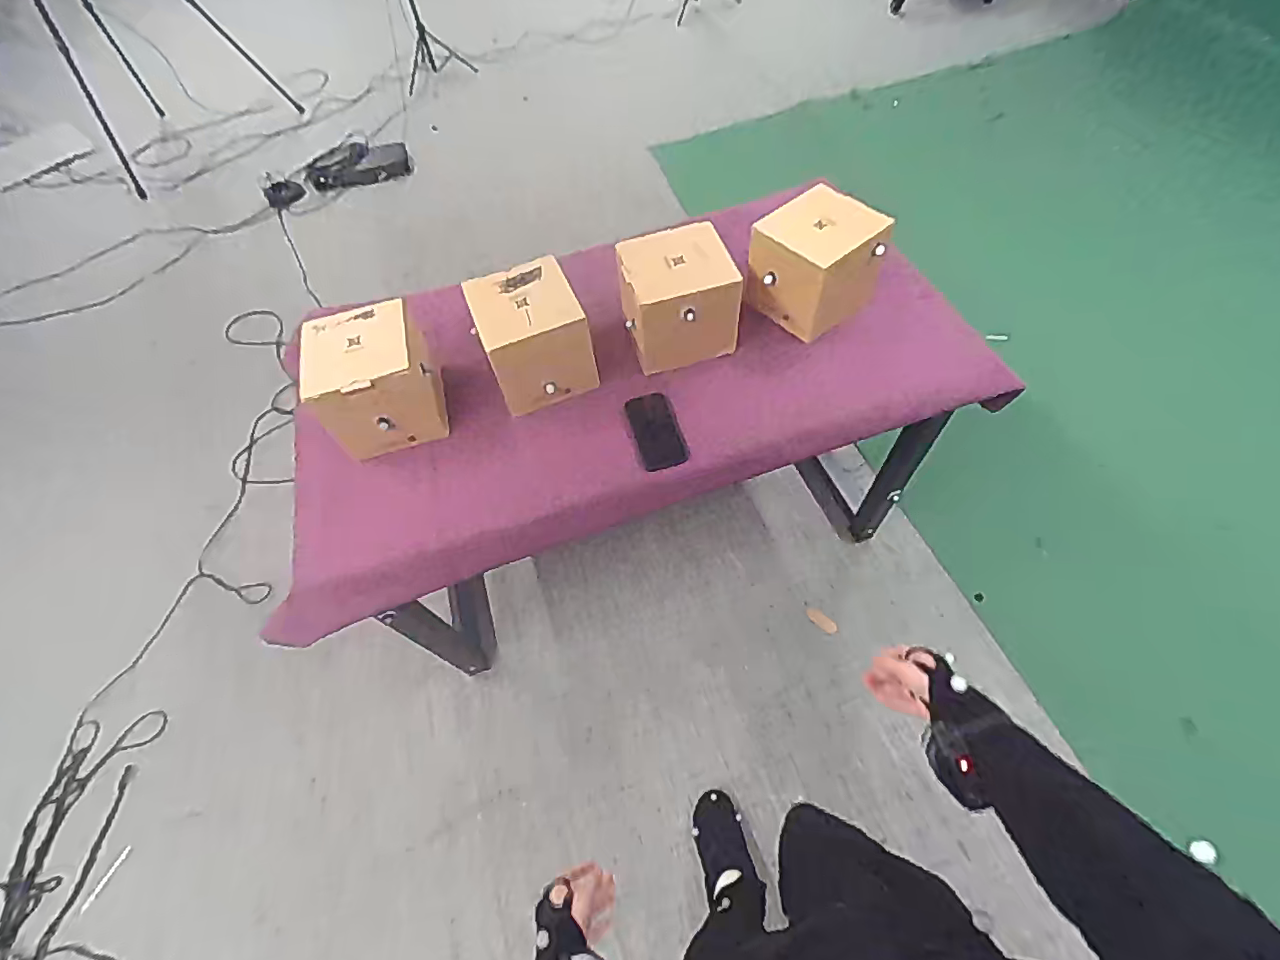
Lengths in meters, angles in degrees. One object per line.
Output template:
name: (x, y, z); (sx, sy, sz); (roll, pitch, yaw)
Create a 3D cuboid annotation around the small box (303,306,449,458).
small box: (-0.438, -0.156, 0.917); (0.168, 0.176, 0.179); (-17, 59, -5)

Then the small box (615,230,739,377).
small box: (0.065, -0.308, 0.964); (0.179, 0.176, 0.168); (-15, 59, -4)

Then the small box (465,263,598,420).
small box: (-0.184, -0.237, 0.943); (0.168, 0.176, 0.179); (-21, 59, -8)

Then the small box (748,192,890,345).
small box: (0.313, -0.379, 0.984); (0.179, 0.176, 0.168); (-36, 61, -17)
